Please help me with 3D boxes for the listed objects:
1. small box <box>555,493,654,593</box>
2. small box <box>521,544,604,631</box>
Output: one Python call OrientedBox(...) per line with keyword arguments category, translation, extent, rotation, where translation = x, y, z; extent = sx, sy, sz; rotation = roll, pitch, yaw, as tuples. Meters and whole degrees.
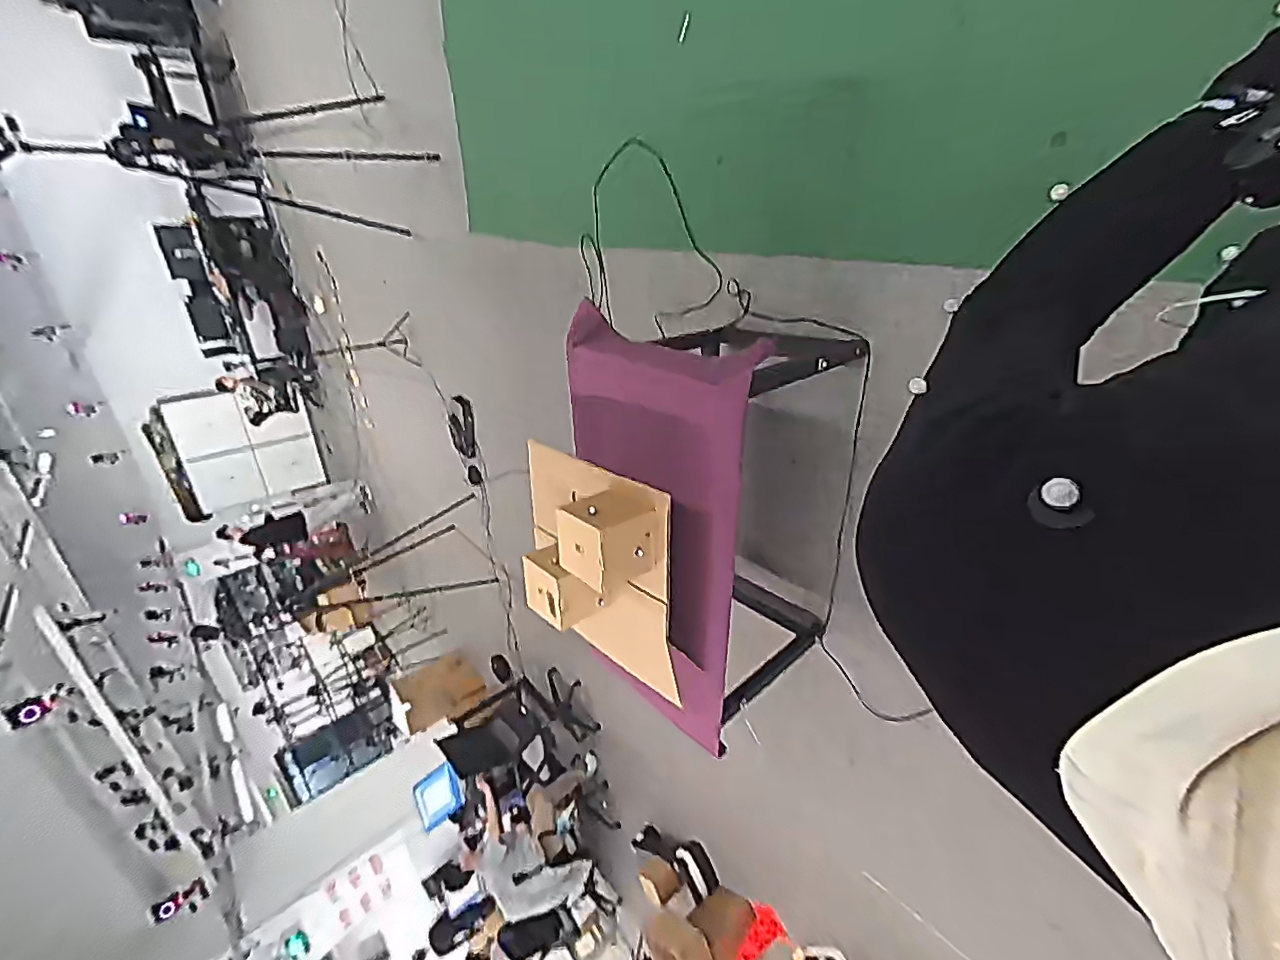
OrientedBox(category="small box", translation=(-0.085, 0.141, 1.314), extent=(0.179, 0.176, 0.168), rotation=(21, 121, 42))
OrientedBox(category="small box", translation=(-0.211, 0.287, 1.518), extent=(0.179, 0.176, 0.168), rotation=(22, 121, 44))
